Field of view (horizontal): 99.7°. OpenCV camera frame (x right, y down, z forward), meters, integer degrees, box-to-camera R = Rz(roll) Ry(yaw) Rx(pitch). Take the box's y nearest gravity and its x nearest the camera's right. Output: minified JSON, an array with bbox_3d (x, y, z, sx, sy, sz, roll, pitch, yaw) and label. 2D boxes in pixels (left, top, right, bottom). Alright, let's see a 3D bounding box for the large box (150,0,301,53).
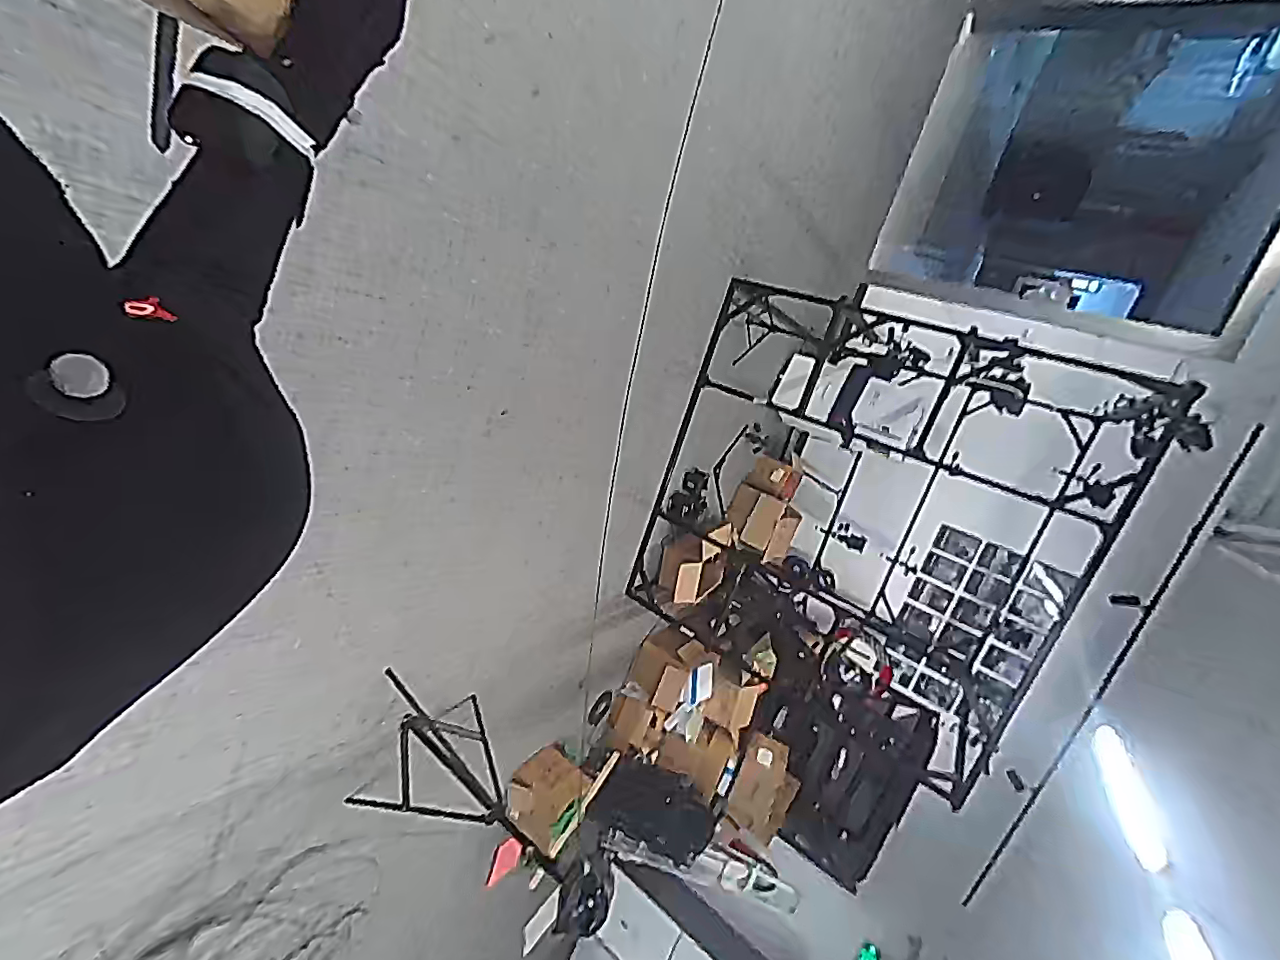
[{"bbox_3d":[-0.400,-0.558,0.288,0.320,0.320,0.408,-56,153,9],"label":"large box"}]
